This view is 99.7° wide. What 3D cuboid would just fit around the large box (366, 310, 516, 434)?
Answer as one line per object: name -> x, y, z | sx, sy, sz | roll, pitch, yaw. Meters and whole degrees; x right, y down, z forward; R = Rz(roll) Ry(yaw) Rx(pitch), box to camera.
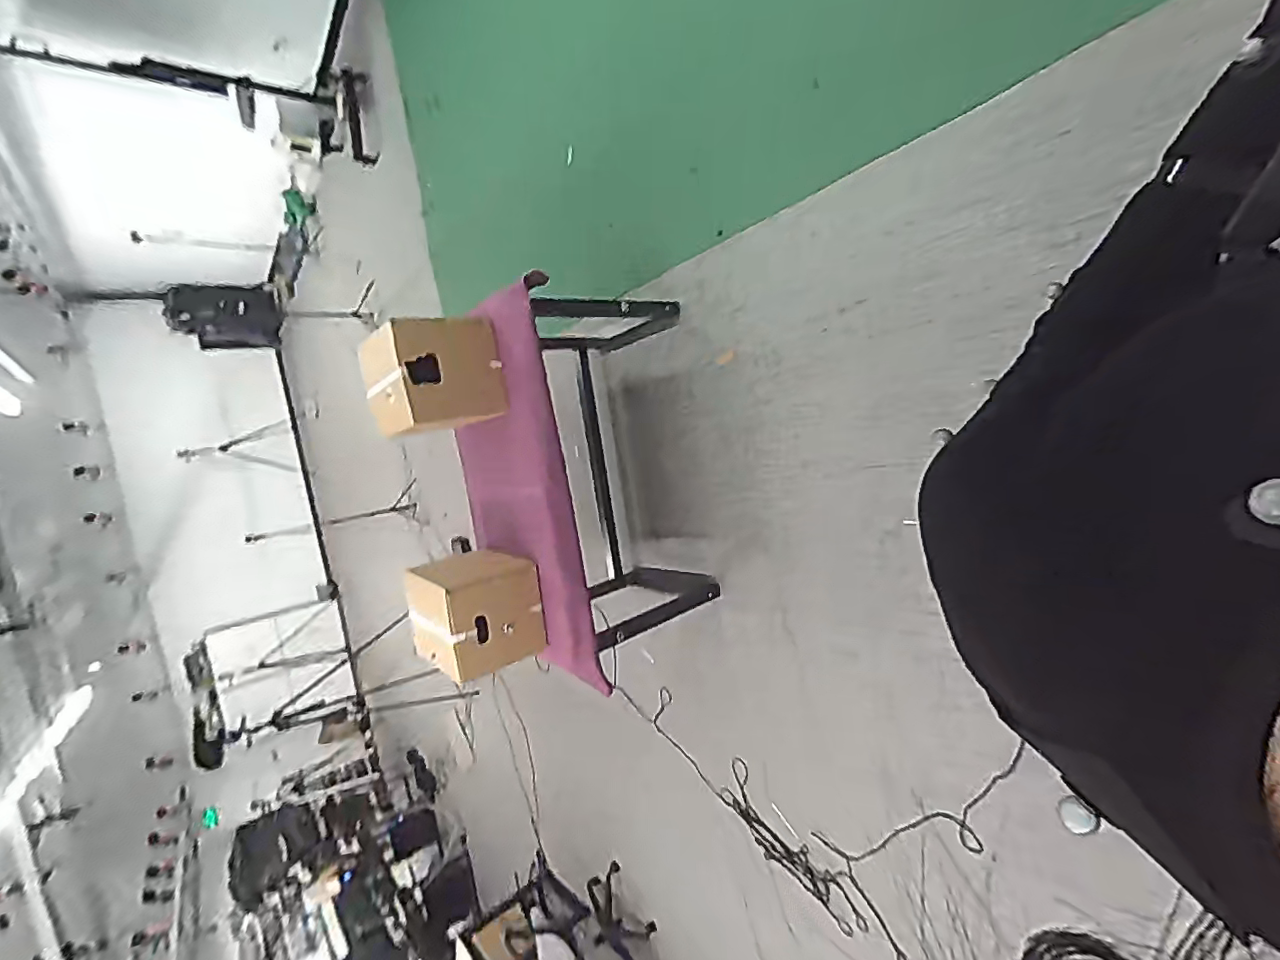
large box -> -0.659, -0.347, 1.778 | 0.408, 0.320, 0.320 | -5, 99, 50
